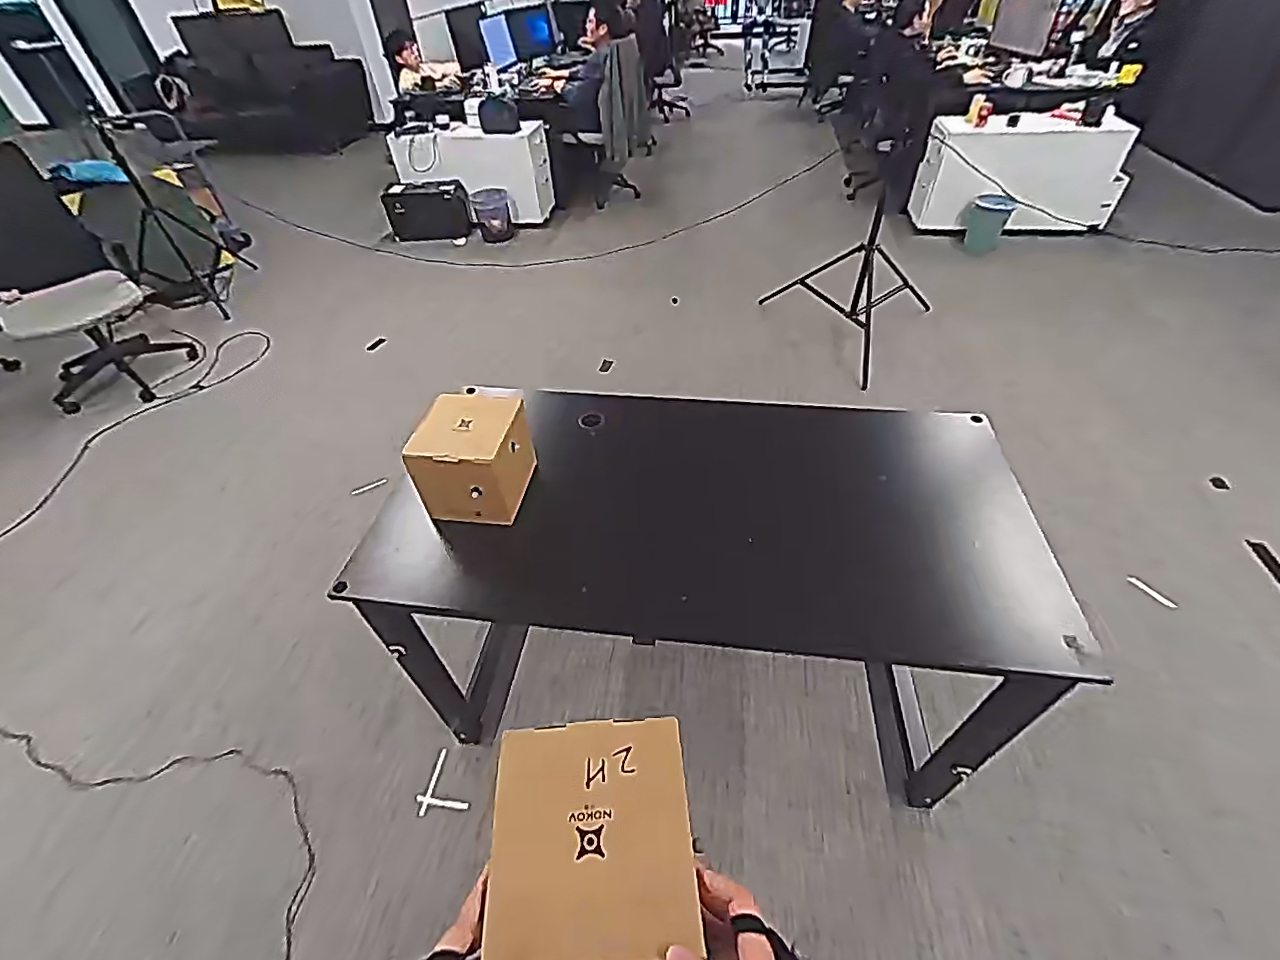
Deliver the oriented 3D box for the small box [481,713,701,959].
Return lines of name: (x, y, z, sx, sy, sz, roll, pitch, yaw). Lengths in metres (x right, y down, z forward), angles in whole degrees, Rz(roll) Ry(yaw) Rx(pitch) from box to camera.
small box: (-0.039, 0.343, 0.507, 0.168, 0.176, 0.179, -4, 45, -3)

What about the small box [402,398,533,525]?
small box: (-0.310, -0.034, 1.018, 0.168, 0.176, 0.179, 5, 44, 6)
